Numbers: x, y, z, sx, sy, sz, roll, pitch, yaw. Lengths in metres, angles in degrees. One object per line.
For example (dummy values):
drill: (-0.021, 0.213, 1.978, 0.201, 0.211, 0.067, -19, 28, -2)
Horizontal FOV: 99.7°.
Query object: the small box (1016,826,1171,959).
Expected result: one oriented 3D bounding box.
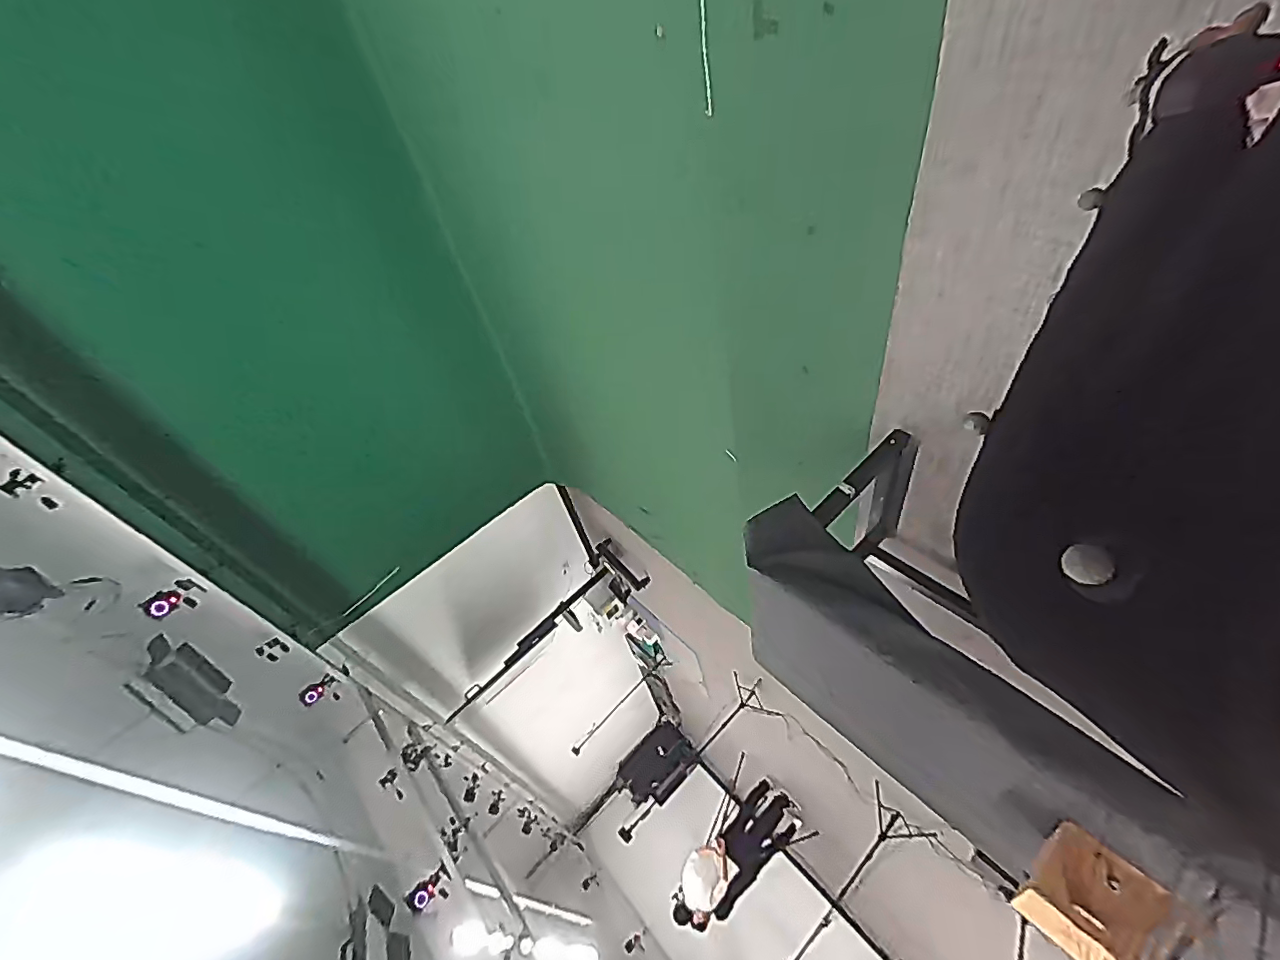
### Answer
small box: (0.888, 0.831, 1.065, 0.168, 0.176, 0.179, 33, 152, 42)
